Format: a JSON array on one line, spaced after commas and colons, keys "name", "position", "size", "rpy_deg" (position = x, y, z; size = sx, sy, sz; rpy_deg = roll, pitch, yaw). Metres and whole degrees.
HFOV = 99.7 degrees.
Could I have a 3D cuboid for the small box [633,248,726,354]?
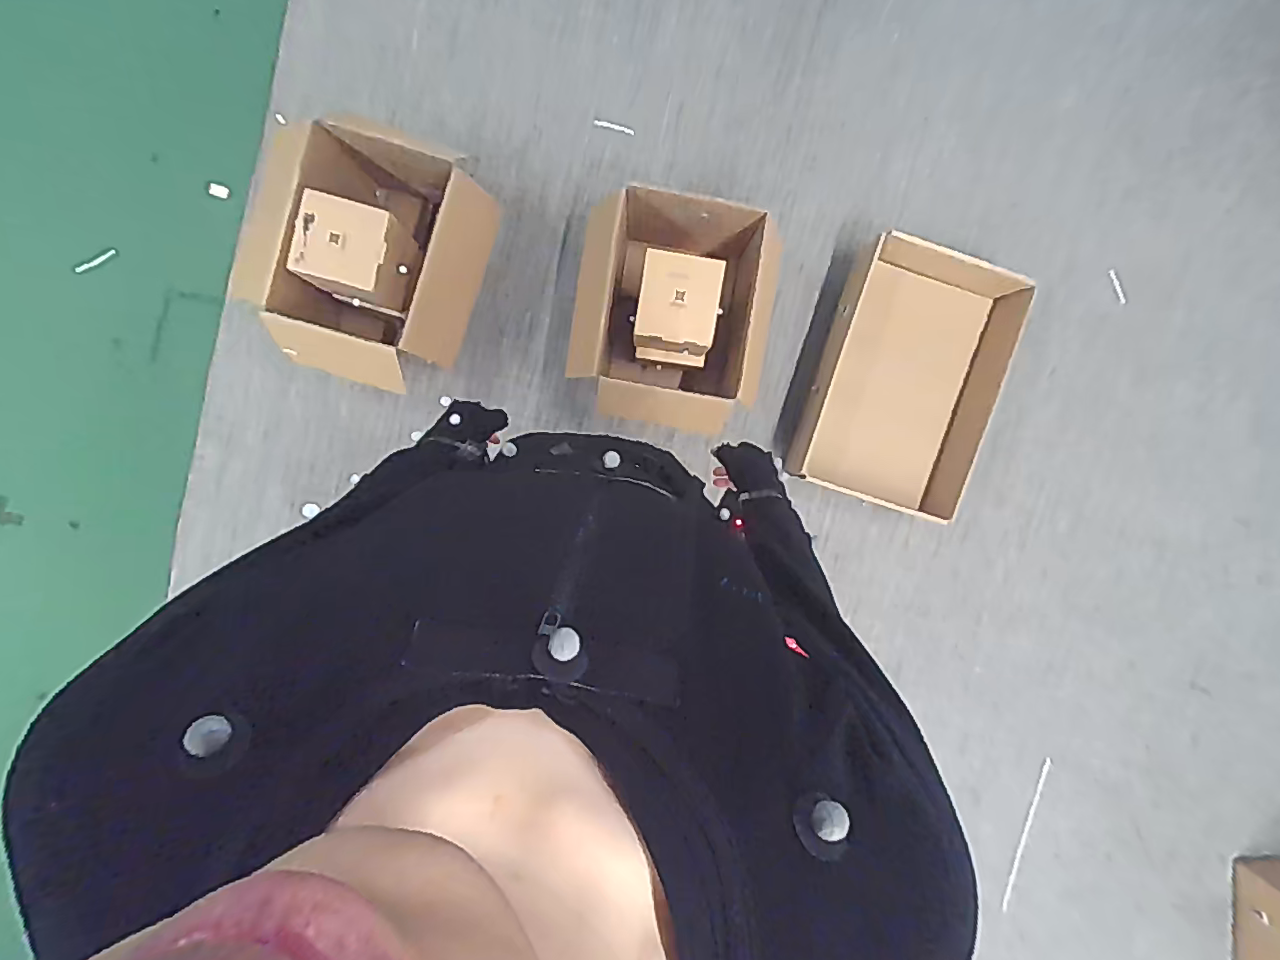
[{"name": "small box", "position": [0.080, -0.379, 1.178], "size": [0.168, 0.176, 0.179], "rpy_deg": [9, 96, -3]}]
